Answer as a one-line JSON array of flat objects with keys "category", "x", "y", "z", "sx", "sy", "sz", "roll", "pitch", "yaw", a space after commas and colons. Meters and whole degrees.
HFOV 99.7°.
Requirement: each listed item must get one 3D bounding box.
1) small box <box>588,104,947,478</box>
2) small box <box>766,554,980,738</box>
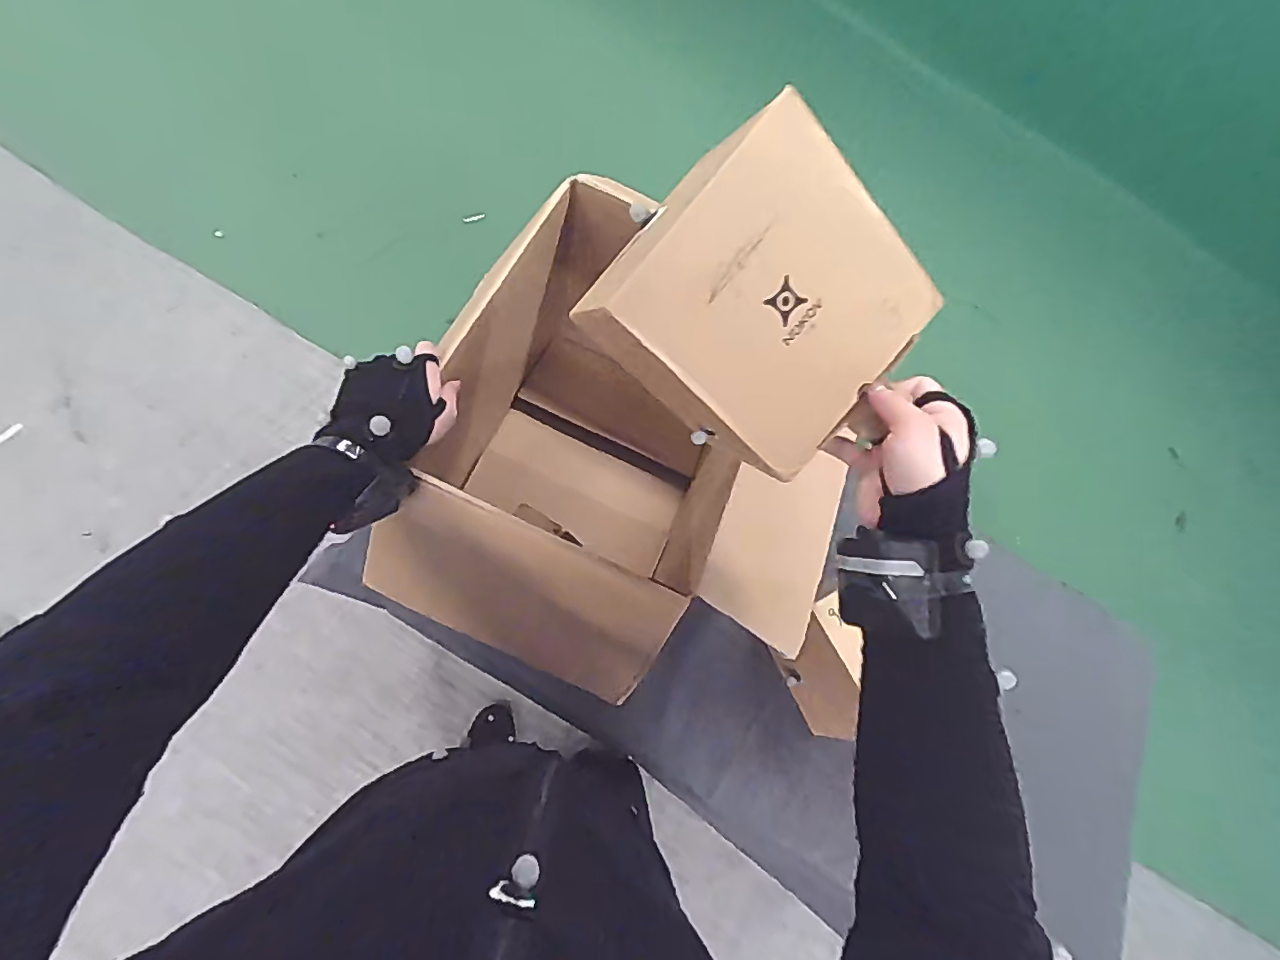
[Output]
[{"category": "small box", "x": 0.082, "y": -0.132, "z": 0.423, "sx": 0.179, "sy": 0.176, "sz": 0.168, "roll": 39, "pitch": 93, "yaw": -20}, {"category": "small box", "x": 0.306, "y": 0.225, "z": 0.747, "sx": 0.168, "sy": 0.176, "sz": 0.179, "roll": -21, "pitch": 76, "yaw": -18}]
